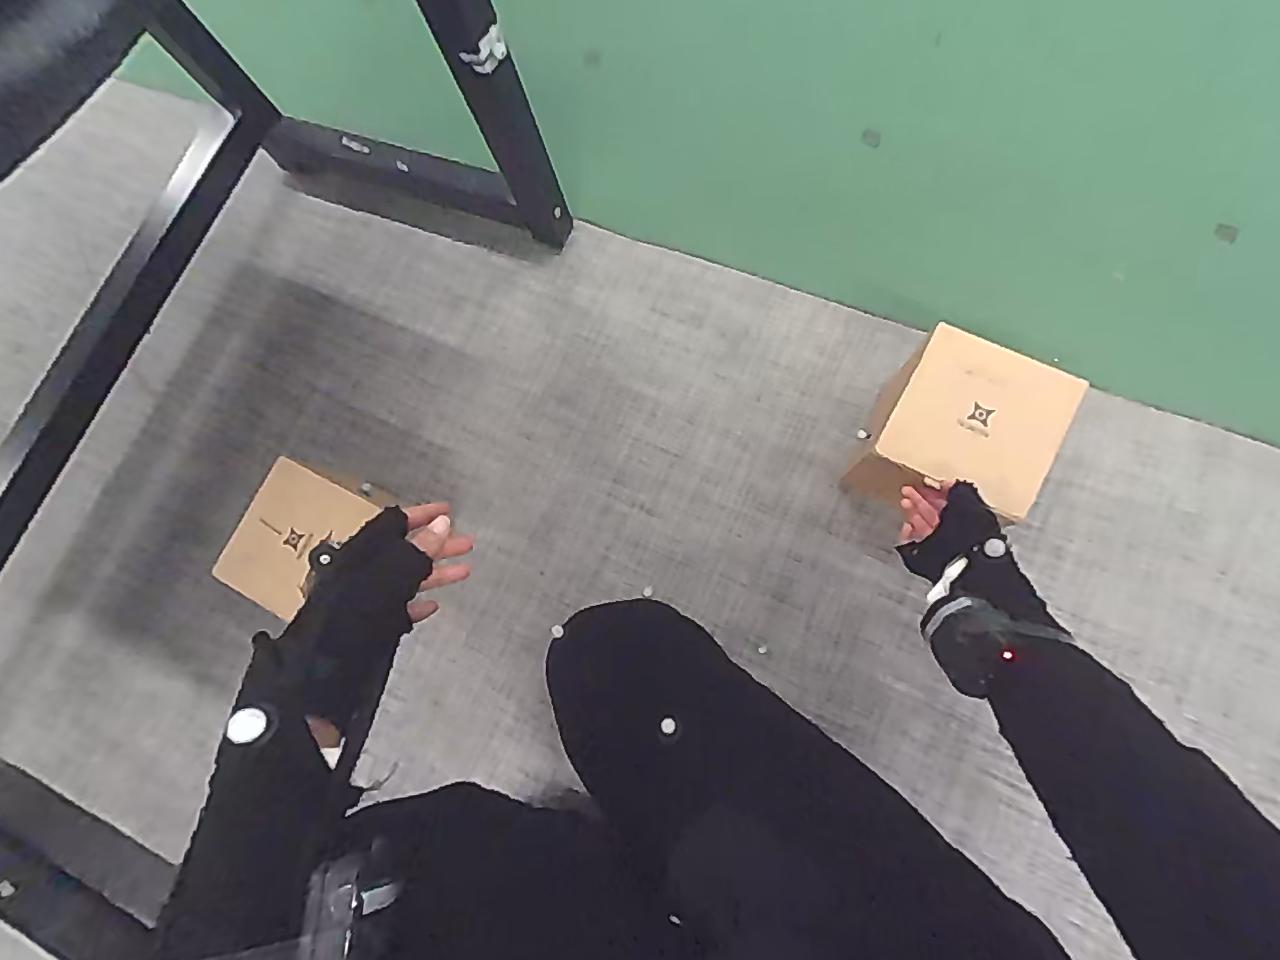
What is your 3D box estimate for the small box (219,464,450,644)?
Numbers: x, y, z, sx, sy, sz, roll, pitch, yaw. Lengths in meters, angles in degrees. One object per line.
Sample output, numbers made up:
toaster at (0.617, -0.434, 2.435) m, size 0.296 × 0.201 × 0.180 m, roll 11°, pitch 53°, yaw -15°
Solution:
small box at (-0.394, 0.100, 0.731) m, size 0.179 × 0.176 × 0.168 m, roll 24°, pitch 82°, yaw 14°
